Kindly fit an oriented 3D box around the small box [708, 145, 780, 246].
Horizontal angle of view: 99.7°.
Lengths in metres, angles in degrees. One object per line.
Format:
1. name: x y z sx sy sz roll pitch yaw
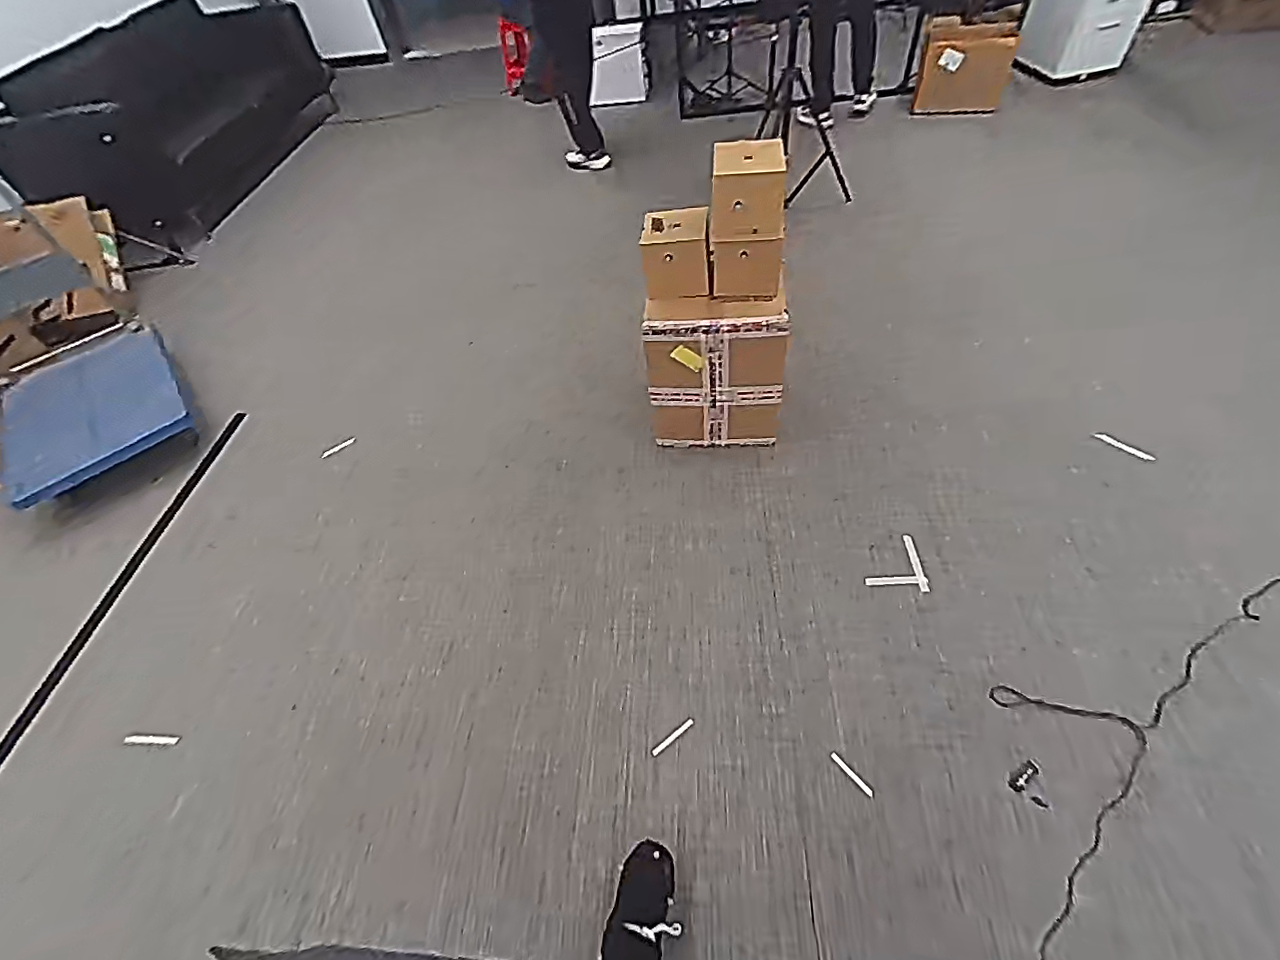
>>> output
1. small box: 0.254 -0.700 1.342 0.168 0.176 0.179 0 52 8
